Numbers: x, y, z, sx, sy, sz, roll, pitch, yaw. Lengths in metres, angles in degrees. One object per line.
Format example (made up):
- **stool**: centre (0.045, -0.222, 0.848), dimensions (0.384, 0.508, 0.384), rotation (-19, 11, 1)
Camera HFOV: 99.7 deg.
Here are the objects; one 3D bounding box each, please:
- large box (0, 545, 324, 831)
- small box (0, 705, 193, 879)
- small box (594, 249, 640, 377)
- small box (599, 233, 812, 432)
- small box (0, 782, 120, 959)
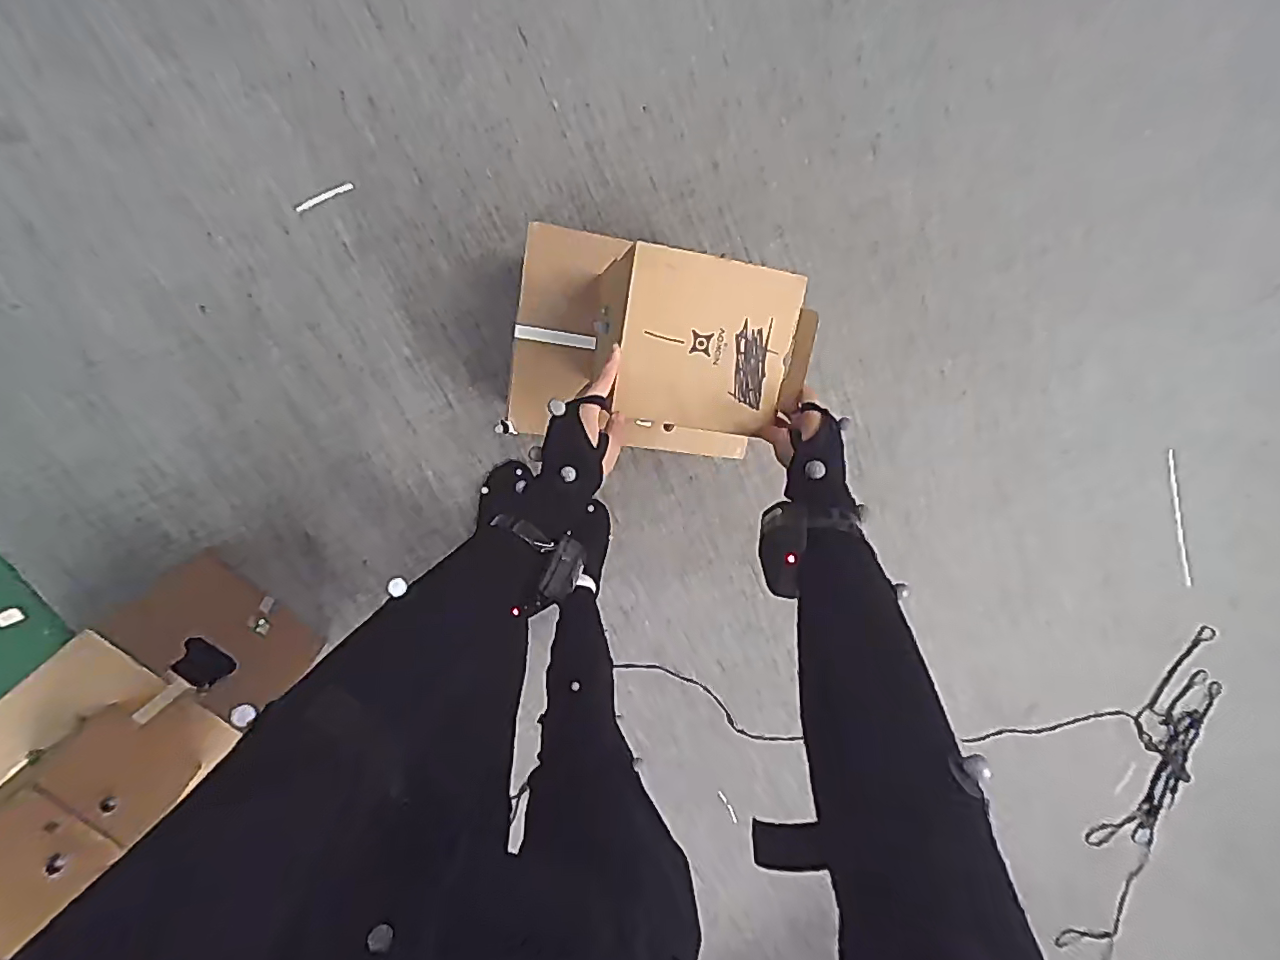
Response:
- **large box**: centre (-0.906, 0.400, 1.011), dimensions (0.408, 0.320, 0.320), rotation (-39, 108, 3)
- **small box**: centre (-0.822, 0.472, 0.788), dimensions (0.168, 0.176, 0.179), rotation (-34, 109, 0)
- **small box**: centre (0.039, -0.213, 0.760), dimensions (0.179, 0.176, 0.168), rotation (3, 102, -13)
- **small box**: centre (0.059, -0.158, 0.604), dimensions (0.179, 0.176, 0.168), rotation (8, 102, -12)
- **small box**: centre (-0.793, 0.508, 0.632), dimensions (0.179, 0.176, 0.168), rotation (-33, 109, -1)
